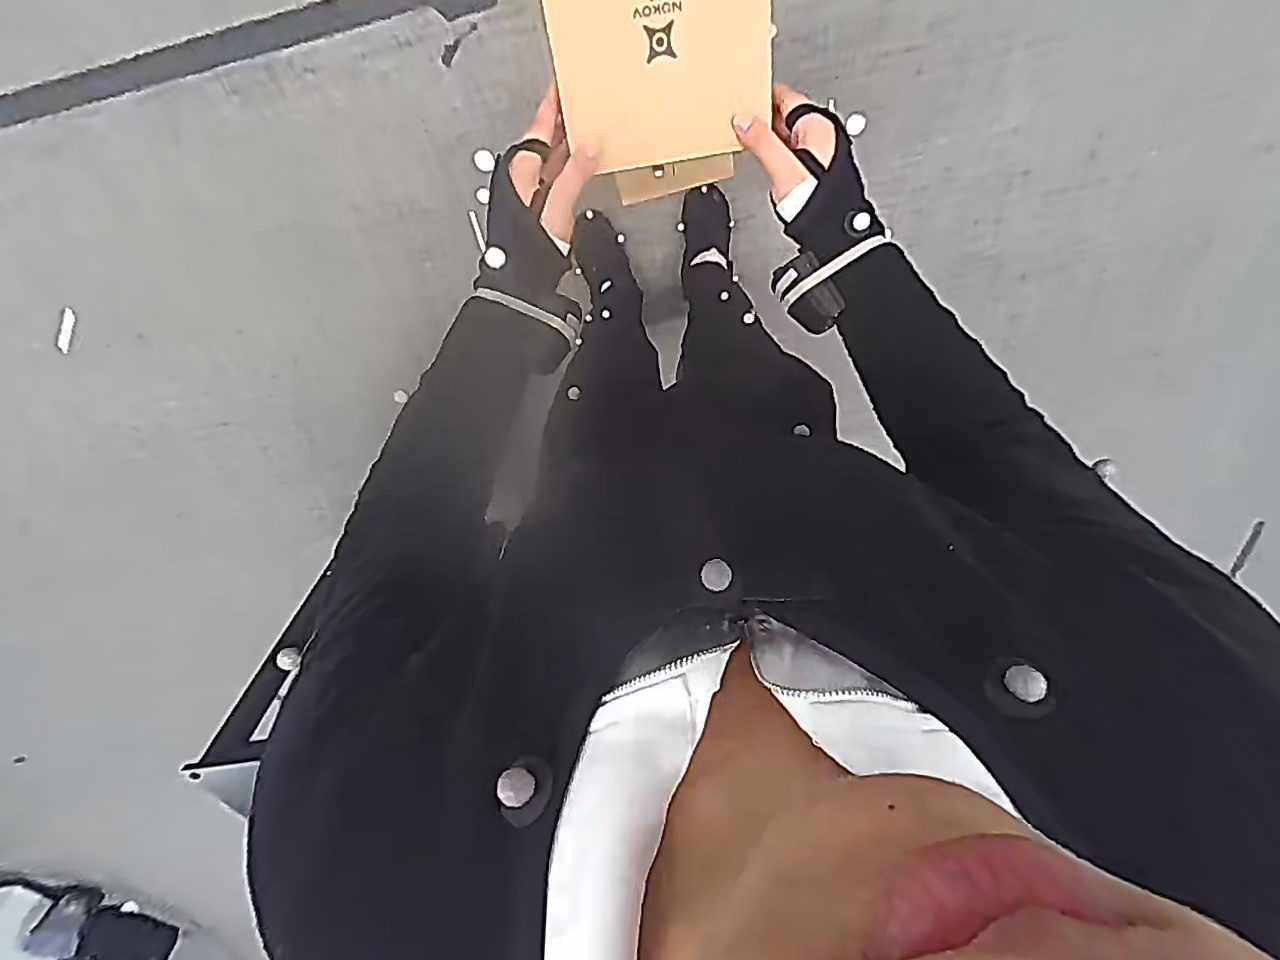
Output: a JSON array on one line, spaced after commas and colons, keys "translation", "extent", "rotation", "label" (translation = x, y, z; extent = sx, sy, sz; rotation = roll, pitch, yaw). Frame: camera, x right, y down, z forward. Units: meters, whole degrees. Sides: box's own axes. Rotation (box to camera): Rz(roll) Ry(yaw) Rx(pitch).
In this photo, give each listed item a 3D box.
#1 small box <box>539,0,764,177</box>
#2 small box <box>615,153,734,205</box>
[{"translation": [0.007, -0.380, 0.470], "extent": [0.168, 0.176, 0.179], "rotation": [-9, 123, 2], "label": "small box"}, {"translation": [0.032, -0.523, 0.786], "extent": [0.168, 0.176, 0.179], "rotation": [-12, 124, 6], "label": "small box"}]
